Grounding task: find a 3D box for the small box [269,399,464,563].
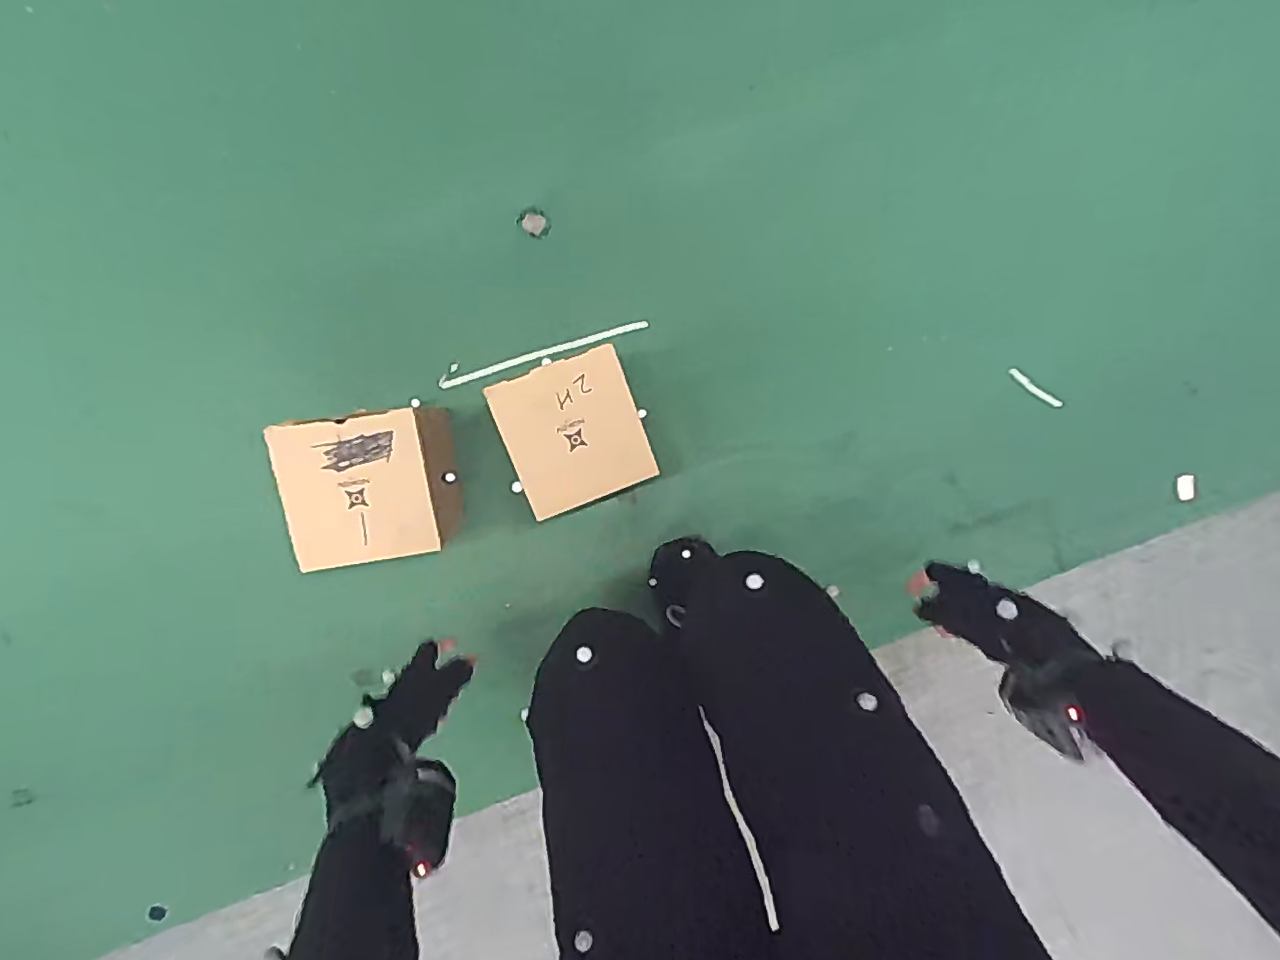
[{"bbox_3d":[-0.338,-0.009,0.705,0.168,0.176,0.179,-8,100,-7],"label":"small box"}]
